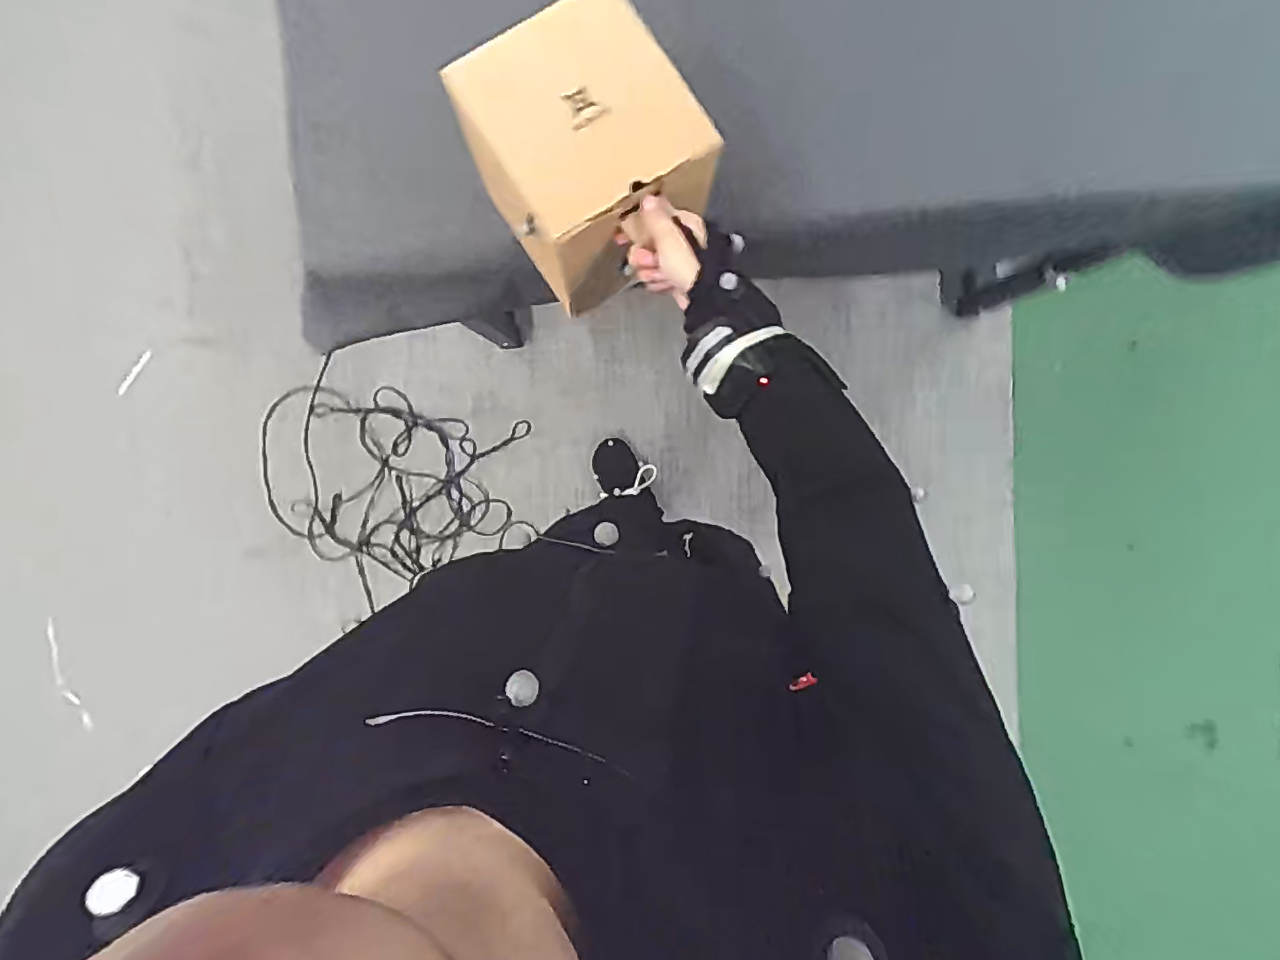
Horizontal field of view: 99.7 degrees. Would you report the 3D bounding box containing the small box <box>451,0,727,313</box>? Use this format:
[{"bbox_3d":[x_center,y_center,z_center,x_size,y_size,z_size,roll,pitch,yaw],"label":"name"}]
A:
[{"bbox_3d":[-0.045,-0.296,0.520,0.168,0.176,0.179,-34,88,-4],"label":"small box"}]
